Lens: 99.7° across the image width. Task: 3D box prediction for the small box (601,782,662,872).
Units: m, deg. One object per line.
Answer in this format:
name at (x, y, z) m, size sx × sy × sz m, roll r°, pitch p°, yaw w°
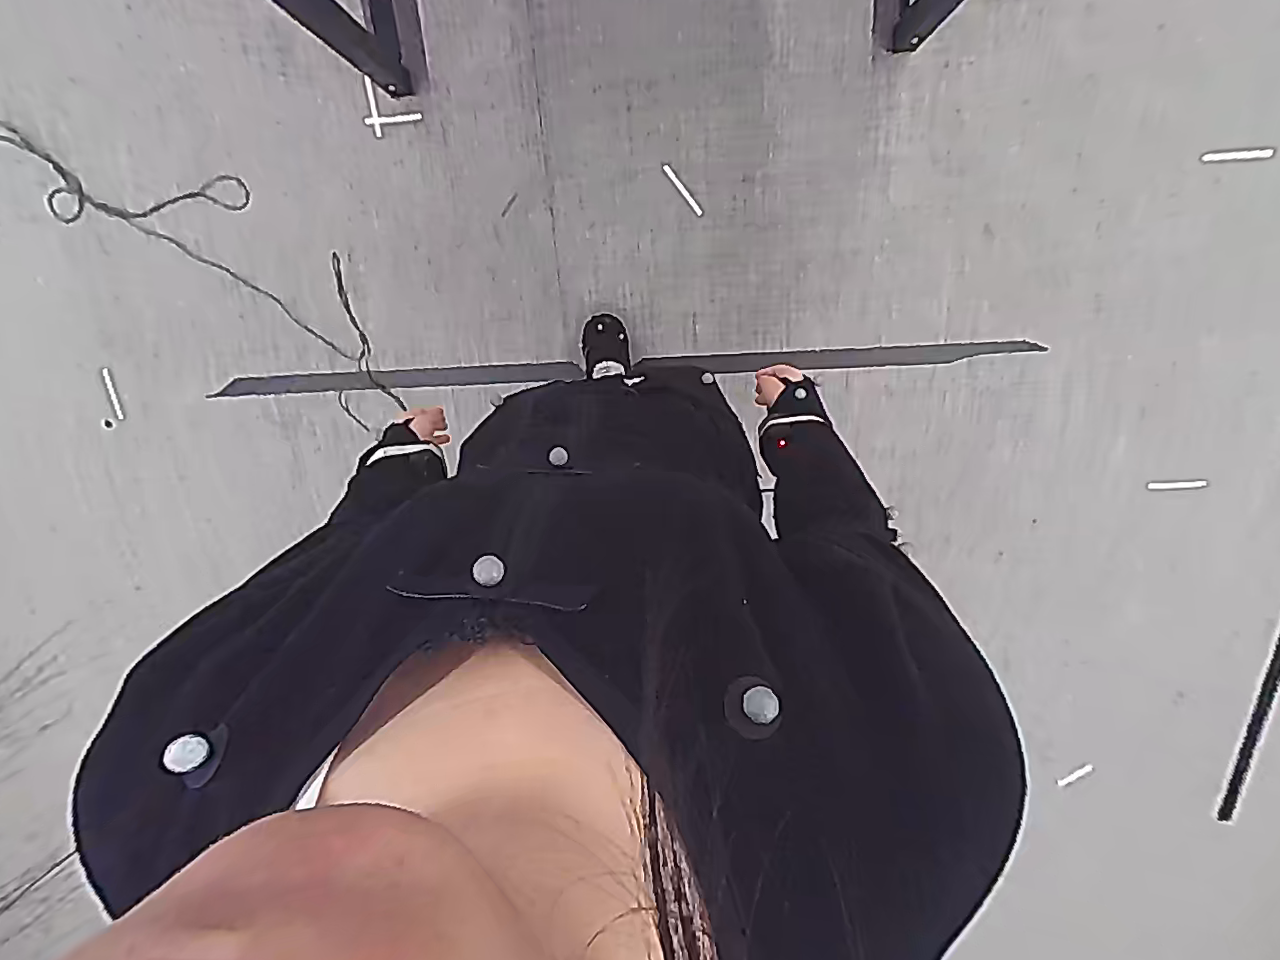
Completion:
small box at (-0.022, 1.125, 1.758) m, size 0.168 × 0.176 × 0.179 m, roll -12°, pitch 107°, yaw 4°
